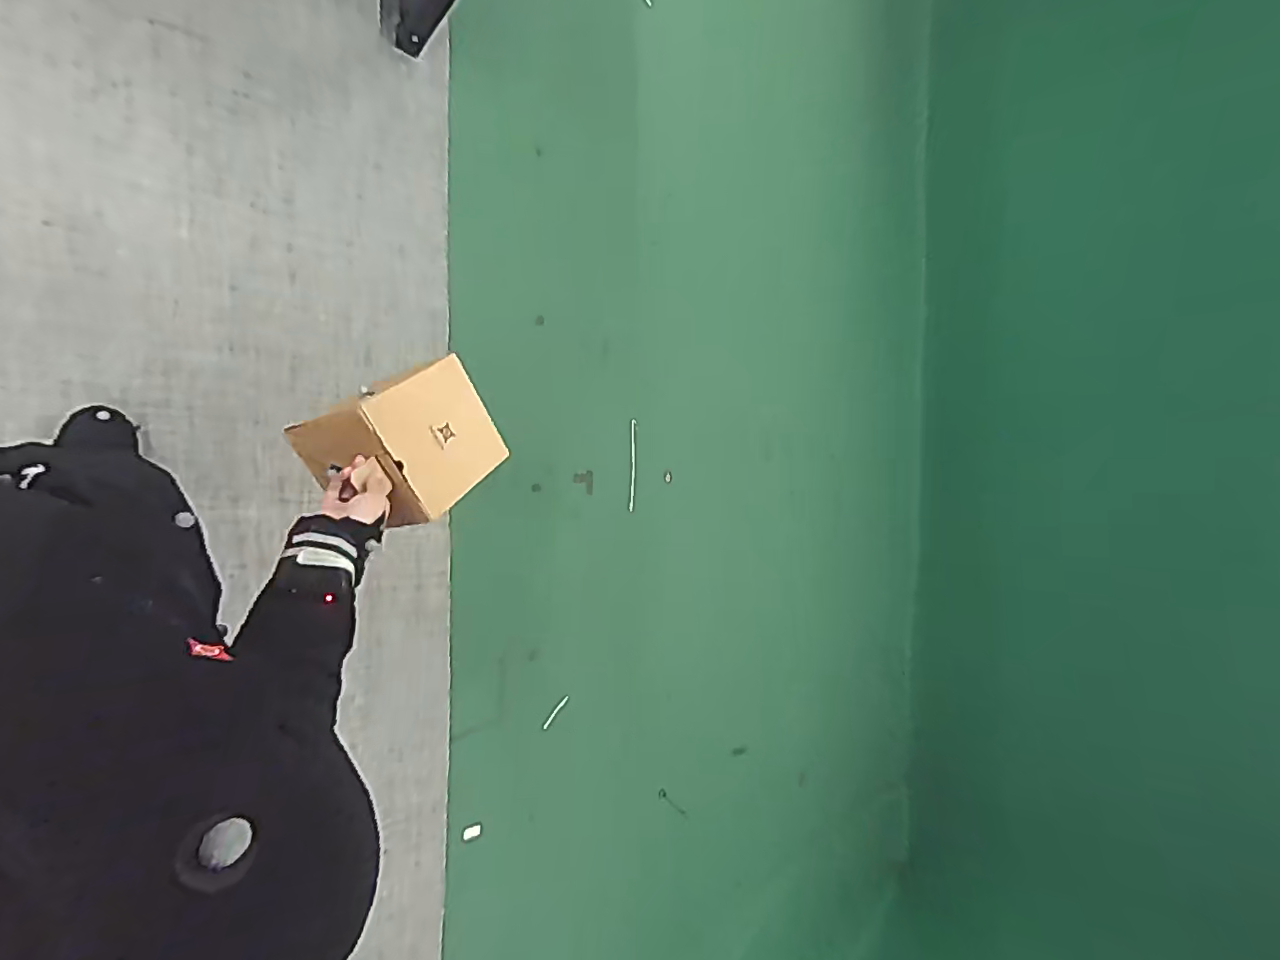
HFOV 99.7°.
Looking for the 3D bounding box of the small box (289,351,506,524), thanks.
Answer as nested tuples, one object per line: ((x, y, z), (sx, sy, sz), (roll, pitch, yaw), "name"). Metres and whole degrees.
((-0.327, -0.057, 0.743), (0.179, 0.176, 0.168), (-55, 129, -48), "small box")
